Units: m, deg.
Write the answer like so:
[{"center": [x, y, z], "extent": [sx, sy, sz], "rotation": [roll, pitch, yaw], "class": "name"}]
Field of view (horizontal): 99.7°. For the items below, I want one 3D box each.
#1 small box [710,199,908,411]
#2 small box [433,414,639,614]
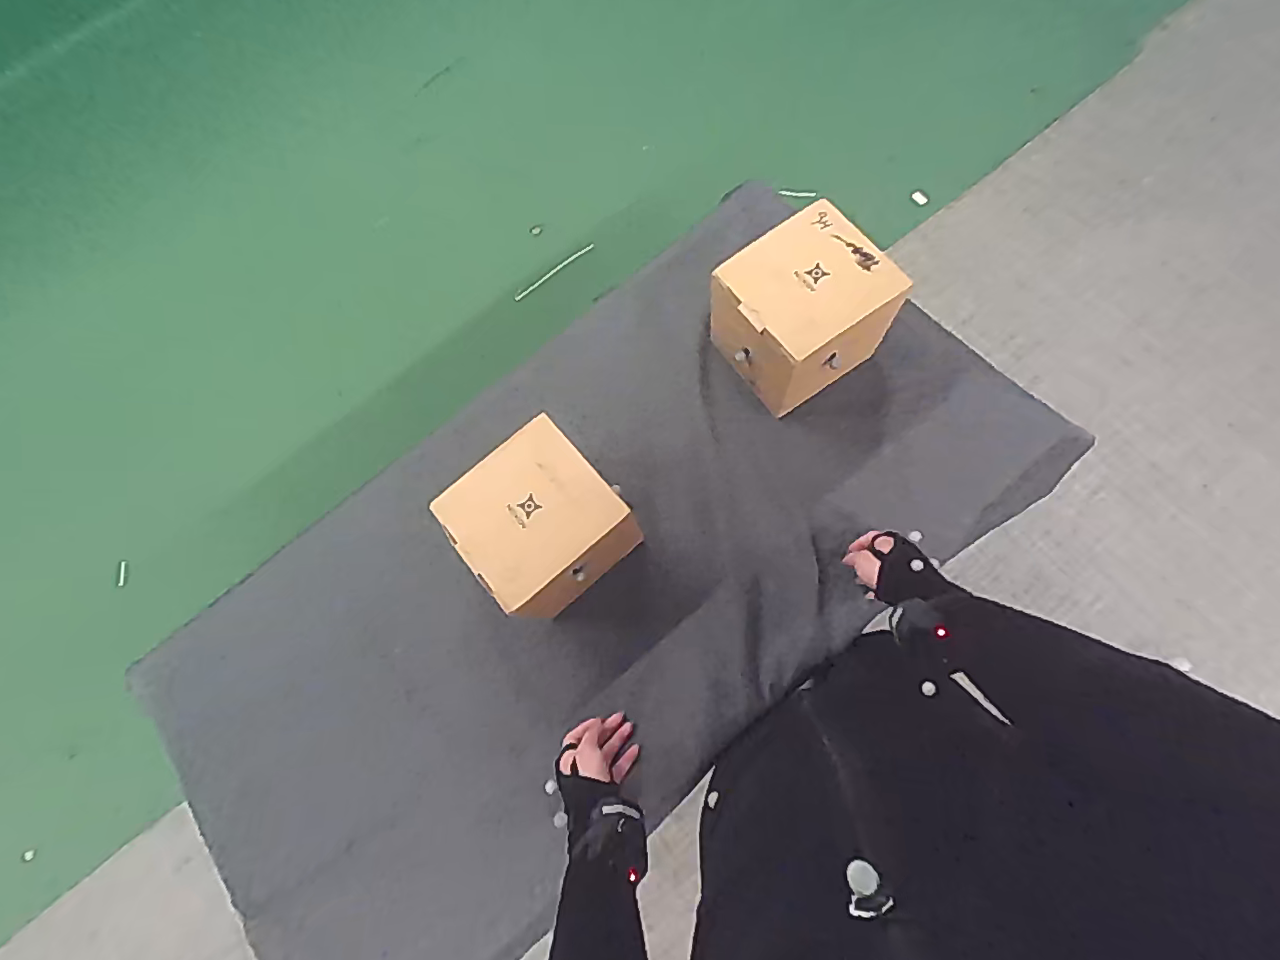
[{"center": [0.212, -0.221, 0.727], "extent": [0.179, 0.176, 0.168], "rotation": [-34, 73, -3], "class": "small box"}, {"center": [-0.118, 0.054, 0.689], "extent": [0.179, 0.176, 0.168], "rotation": [-41, 75, -7], "class": "small box"}]
